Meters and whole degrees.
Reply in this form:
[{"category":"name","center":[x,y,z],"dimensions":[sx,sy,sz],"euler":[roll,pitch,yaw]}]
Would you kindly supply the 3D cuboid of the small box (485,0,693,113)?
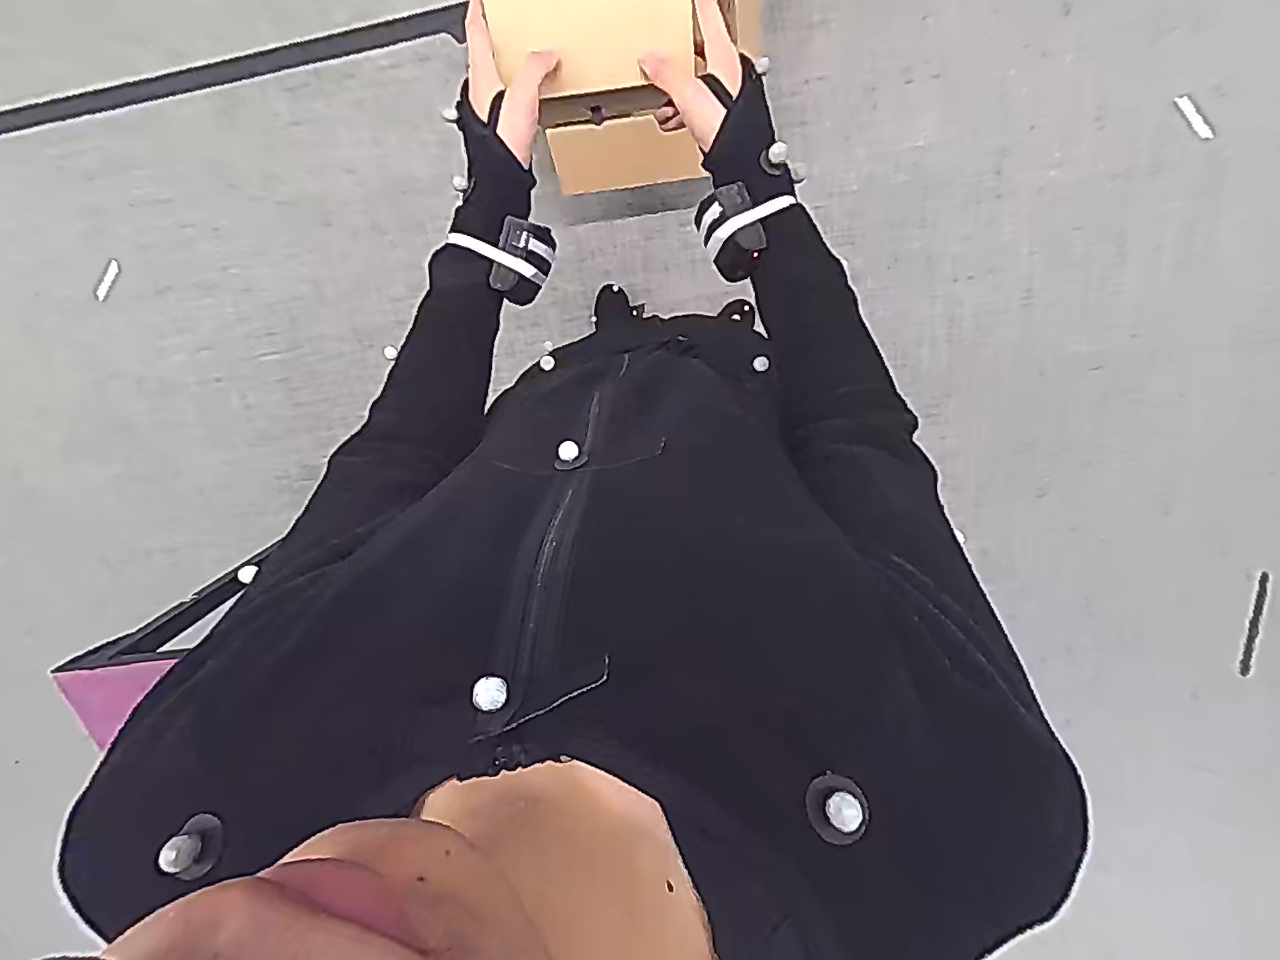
[{"category":"small box","center":[-0.047,-0.444,0.484],"dimensions":[0.168,0.176,0.179],"euler":[-8,118,1]}]
